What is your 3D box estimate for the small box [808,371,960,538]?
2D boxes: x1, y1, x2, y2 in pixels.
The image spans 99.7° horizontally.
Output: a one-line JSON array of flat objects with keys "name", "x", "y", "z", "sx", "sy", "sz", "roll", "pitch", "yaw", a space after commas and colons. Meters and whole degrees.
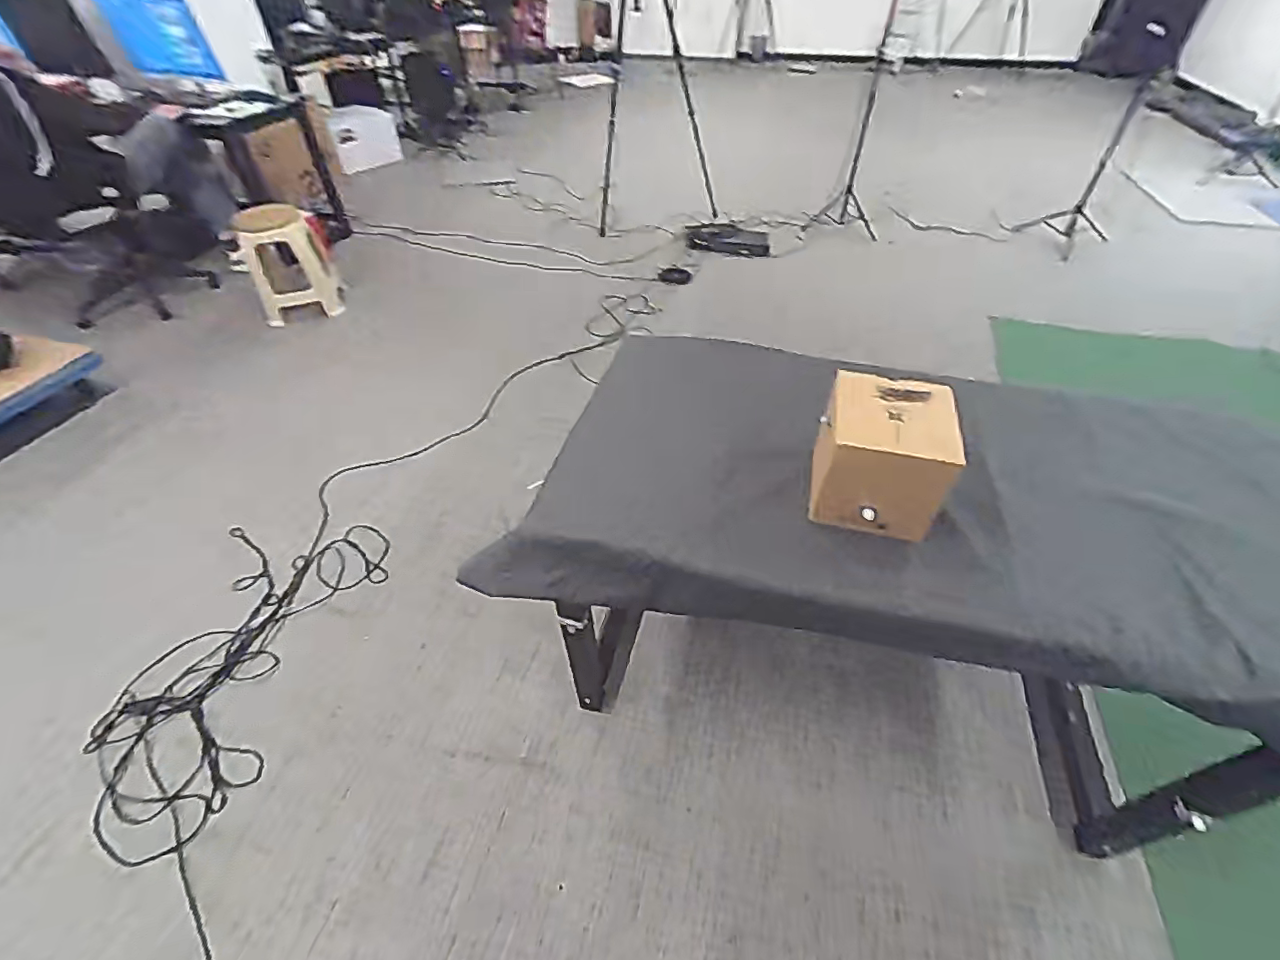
[{"name": "small box", "x": 0.363, "y": -0.040, "z": 0.834, "sx": 0.168, "sy": 0.176, "sz": 0.179, "roll": 11, "pitch": 47, "yaw": 11}]
